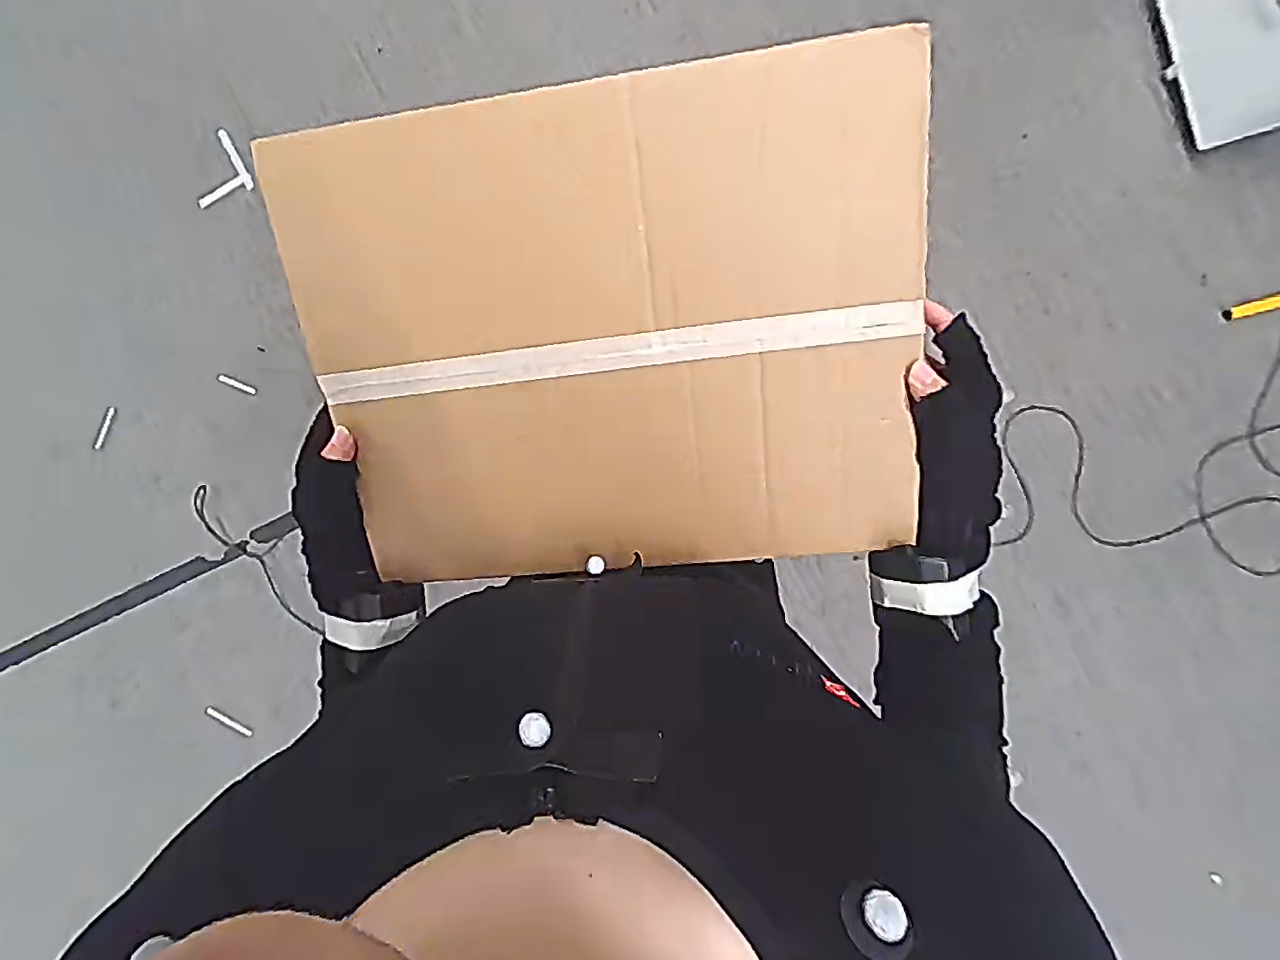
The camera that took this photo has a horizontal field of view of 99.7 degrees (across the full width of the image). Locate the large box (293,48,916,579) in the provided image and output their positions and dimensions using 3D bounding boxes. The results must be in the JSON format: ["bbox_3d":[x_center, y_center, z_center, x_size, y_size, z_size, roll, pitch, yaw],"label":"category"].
[{"bbox_3d":[-0.007,-0.127,0.518,0.408,0.320,0.320,-5,108,7],"label":"large box"}]
